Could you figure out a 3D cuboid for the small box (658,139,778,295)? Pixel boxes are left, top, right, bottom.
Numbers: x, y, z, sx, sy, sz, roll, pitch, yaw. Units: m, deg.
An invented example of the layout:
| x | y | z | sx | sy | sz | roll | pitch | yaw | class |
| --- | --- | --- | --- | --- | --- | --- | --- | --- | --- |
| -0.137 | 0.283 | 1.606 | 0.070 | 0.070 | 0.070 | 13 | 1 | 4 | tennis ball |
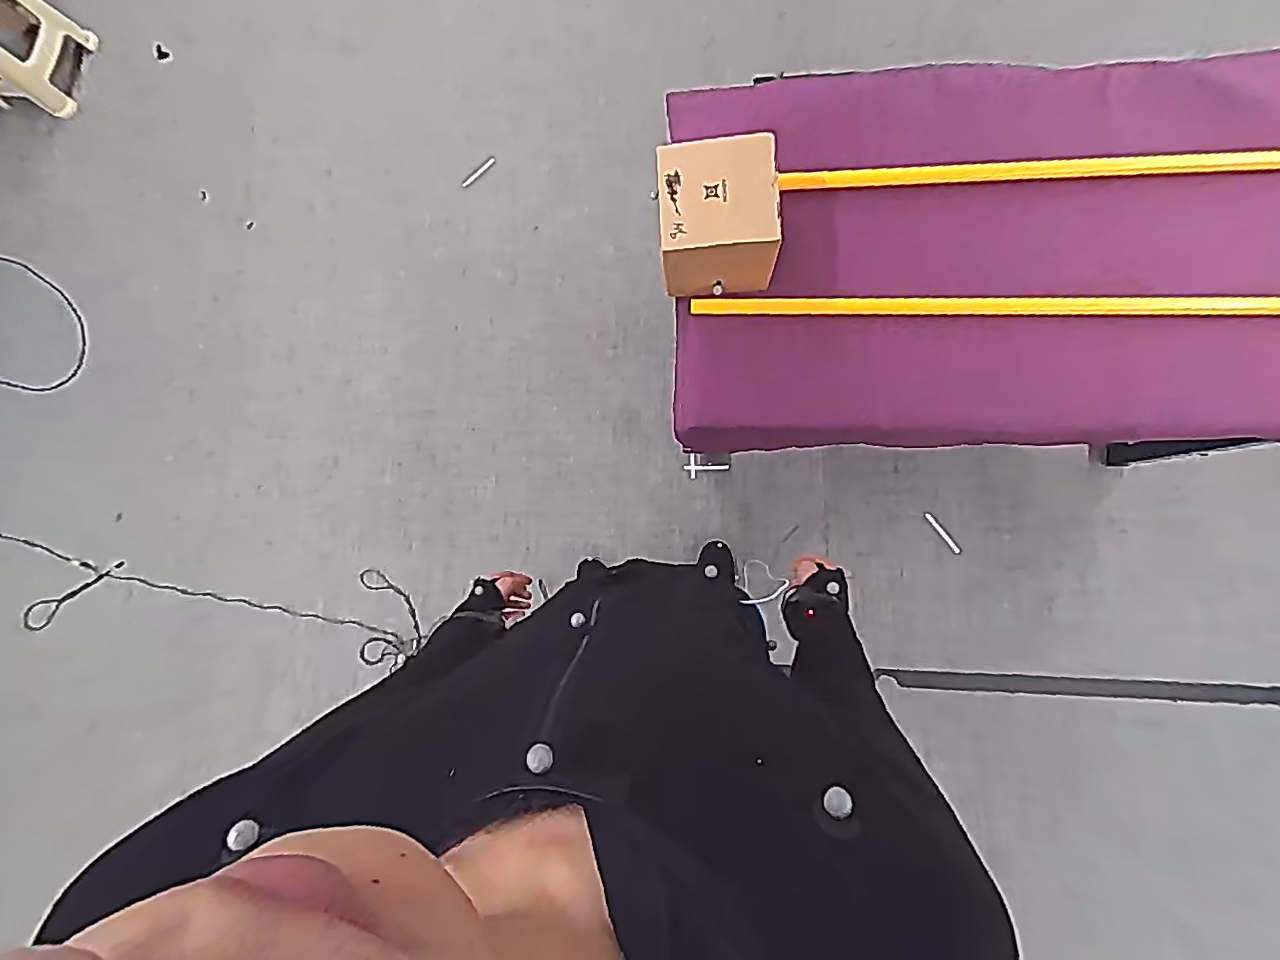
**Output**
| x | y | z | sx | sy | sz | roll | pitch | yaw | class |
| --- | --- | --- | --- | --- | --- | --- | --- | --- | --- |
| 0.121 | -0.417 | 0.883 | 0.179 | 0.176 | 0.168 | -2 | 85 | 5 | small box |
